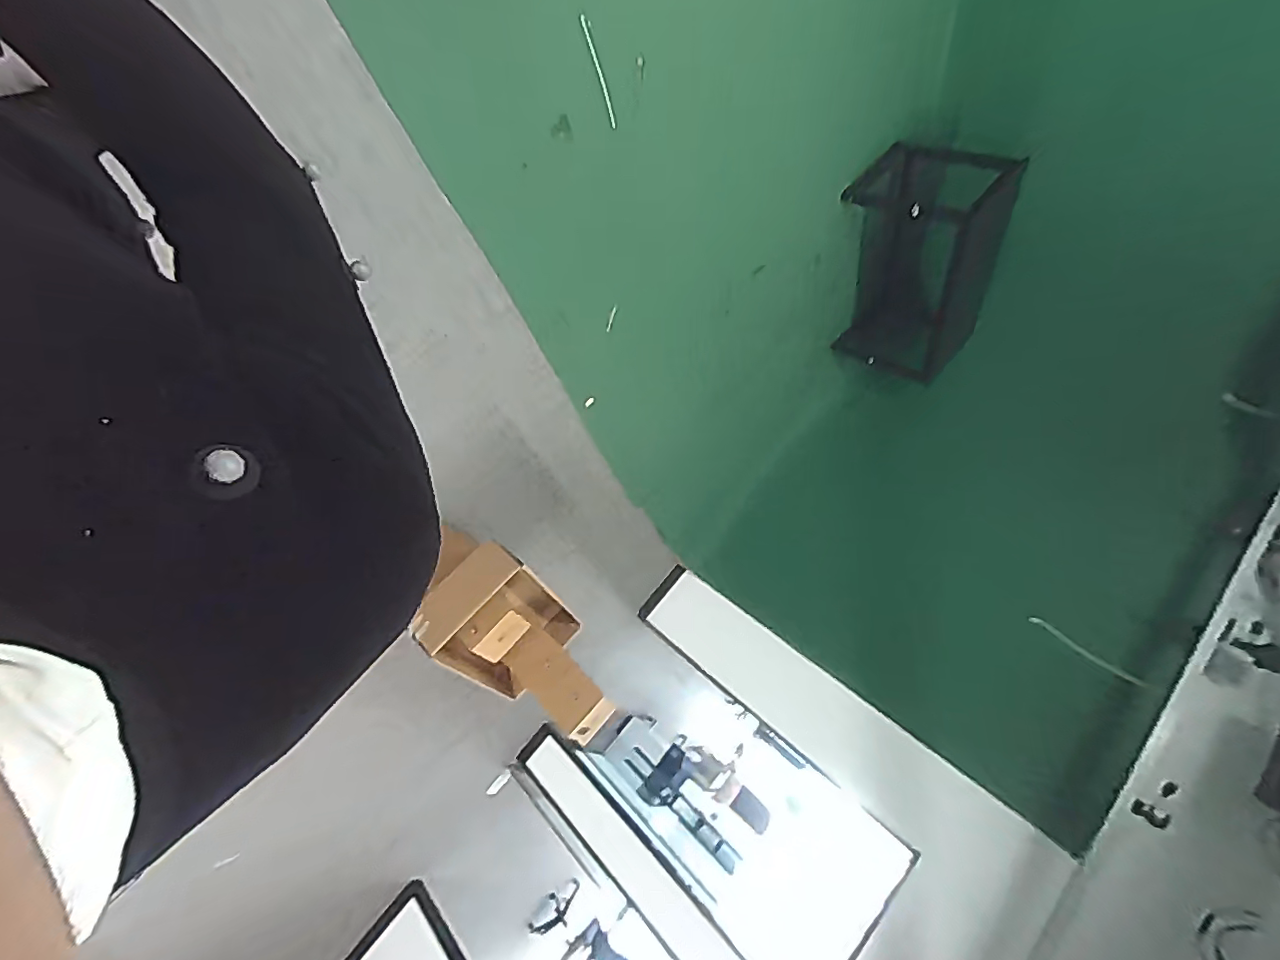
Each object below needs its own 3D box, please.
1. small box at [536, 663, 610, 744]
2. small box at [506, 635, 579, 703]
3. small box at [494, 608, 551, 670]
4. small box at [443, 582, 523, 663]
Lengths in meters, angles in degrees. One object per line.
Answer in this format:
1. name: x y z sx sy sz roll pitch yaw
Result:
1. small box: -0.241 0.779 1.889 0.179 0.176 0.168 -46 146 -17
2. small box: -0.357 0.701 1.977 0.179 0.176 0.168 -46 146 -18
3. small box: -0.473 0.621 2.061 0.179 0.176 0.168 -44 146 -18
4. small box: -0.539 0.482 1.835 0.179 0.176 0.168 -47 148 -15
